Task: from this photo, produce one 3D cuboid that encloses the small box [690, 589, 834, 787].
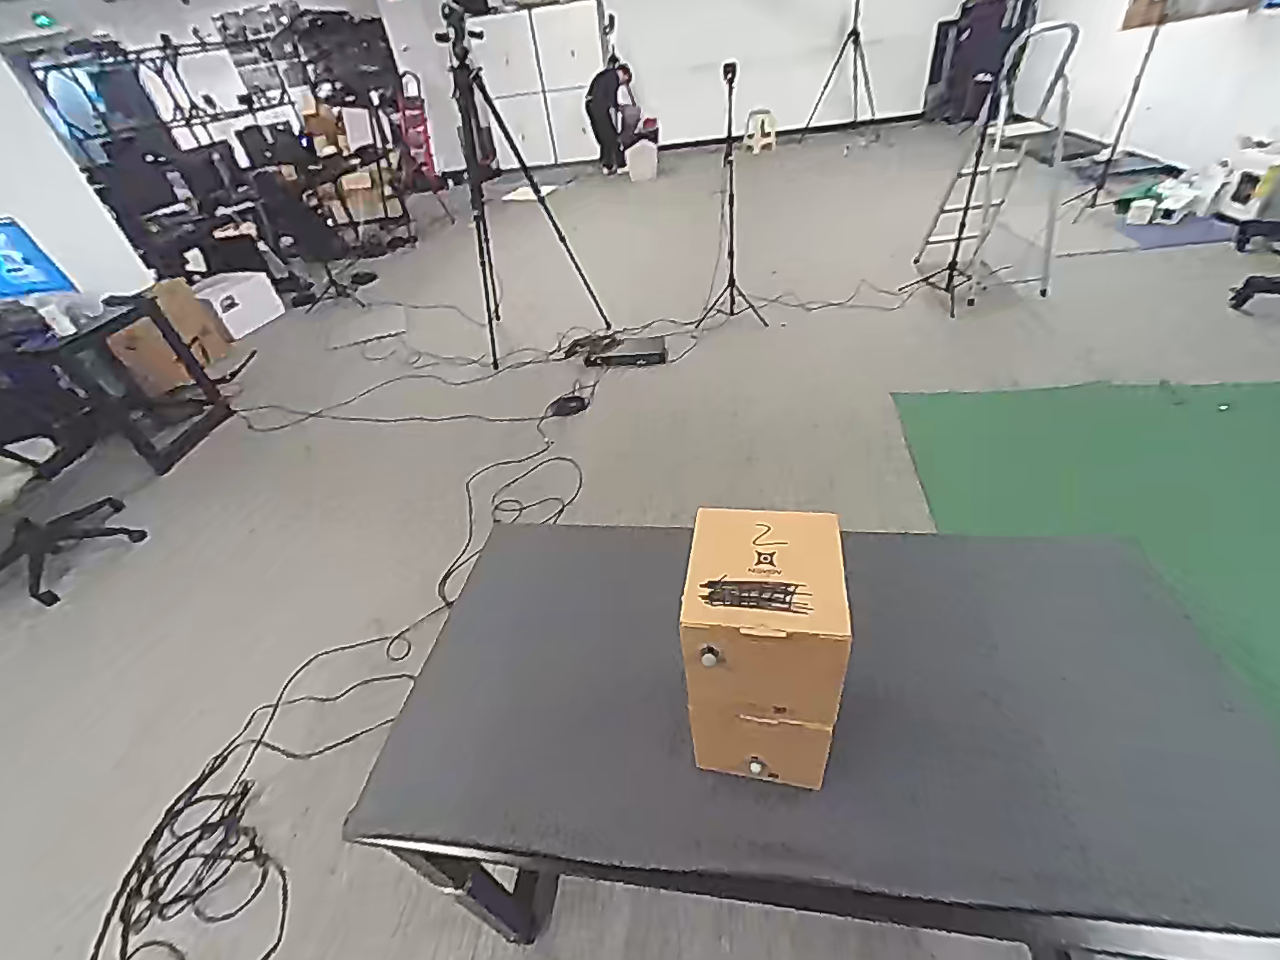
[{"bbox_3d":[0.166,0.275,0.729,0.168,0.176,0.179,3,40,15],"label":"small box"}]
